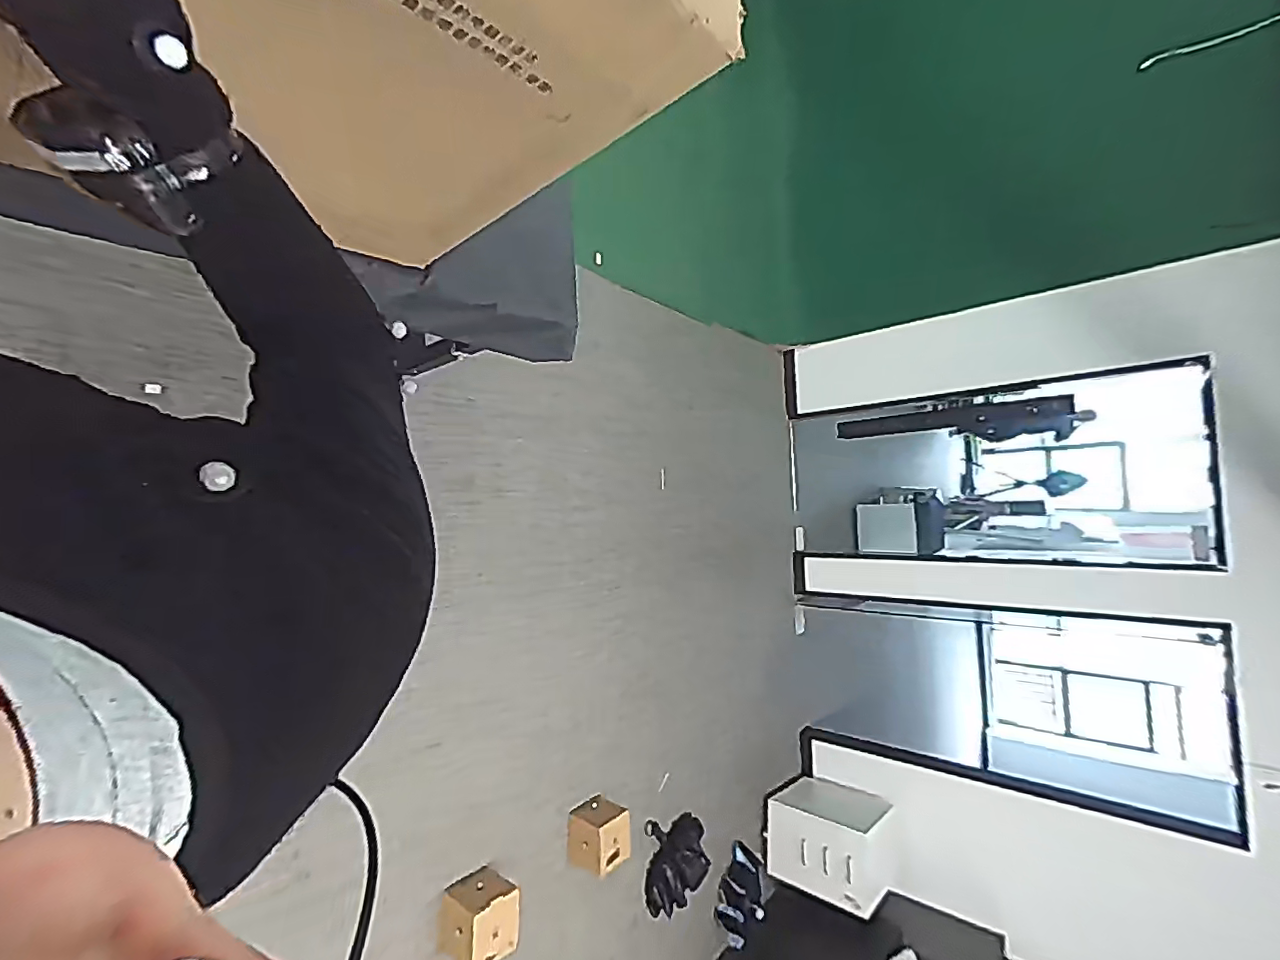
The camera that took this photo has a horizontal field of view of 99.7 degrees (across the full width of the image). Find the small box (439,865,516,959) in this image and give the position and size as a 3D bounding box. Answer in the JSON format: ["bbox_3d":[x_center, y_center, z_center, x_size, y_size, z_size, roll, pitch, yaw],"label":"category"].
[{"bbox_3d":[-0.504,1.333,1.673,0.168,0.176,0.179,7,82,-49],"label":"small box"}]

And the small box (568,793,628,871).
[{"bbox_3d":[-0.162,1.339,2.069,0.168,0.176,0.179,3,84,-50],"label":"small box"}]
